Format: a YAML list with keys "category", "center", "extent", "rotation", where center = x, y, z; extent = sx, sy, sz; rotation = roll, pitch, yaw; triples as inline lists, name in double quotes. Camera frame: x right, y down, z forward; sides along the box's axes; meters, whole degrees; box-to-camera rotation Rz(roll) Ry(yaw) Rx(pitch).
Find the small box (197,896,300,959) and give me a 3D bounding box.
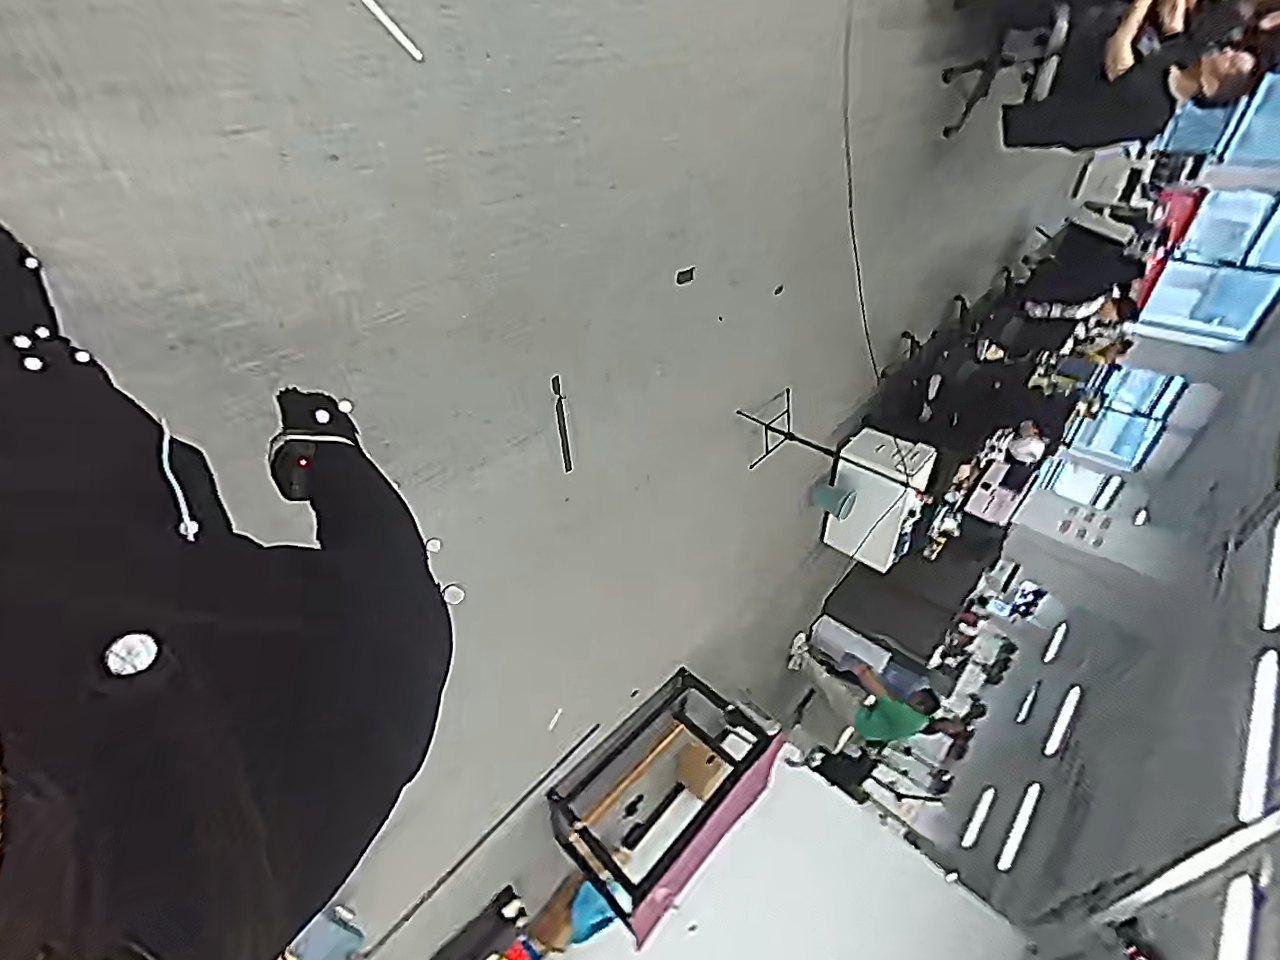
- category: "small box"
  center: [-1.104, 1.336, 1.519]
  extent: [0.179, 0.176, 0.168]
  rotation: [-32, 137, -36]
